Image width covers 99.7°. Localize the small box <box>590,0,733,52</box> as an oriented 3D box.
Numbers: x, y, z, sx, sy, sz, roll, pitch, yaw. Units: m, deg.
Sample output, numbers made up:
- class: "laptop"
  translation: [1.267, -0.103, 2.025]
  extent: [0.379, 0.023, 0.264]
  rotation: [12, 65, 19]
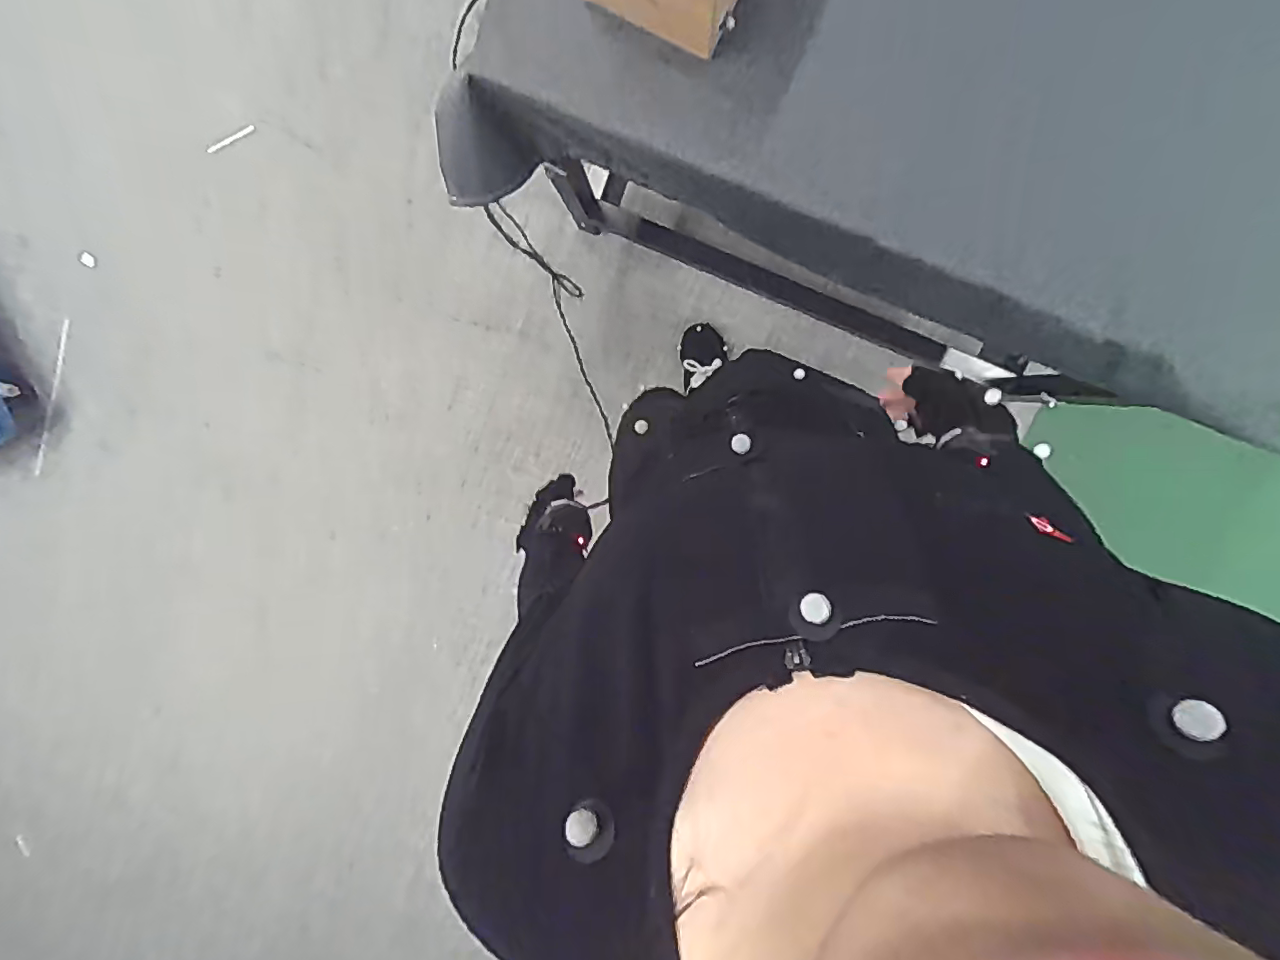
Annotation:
- class: "small box"
  translation: [0.039, -0.606, 0.569]
  extent: [0.179, 0.176, 0.168]
  rotation: [26, 100, -1]
